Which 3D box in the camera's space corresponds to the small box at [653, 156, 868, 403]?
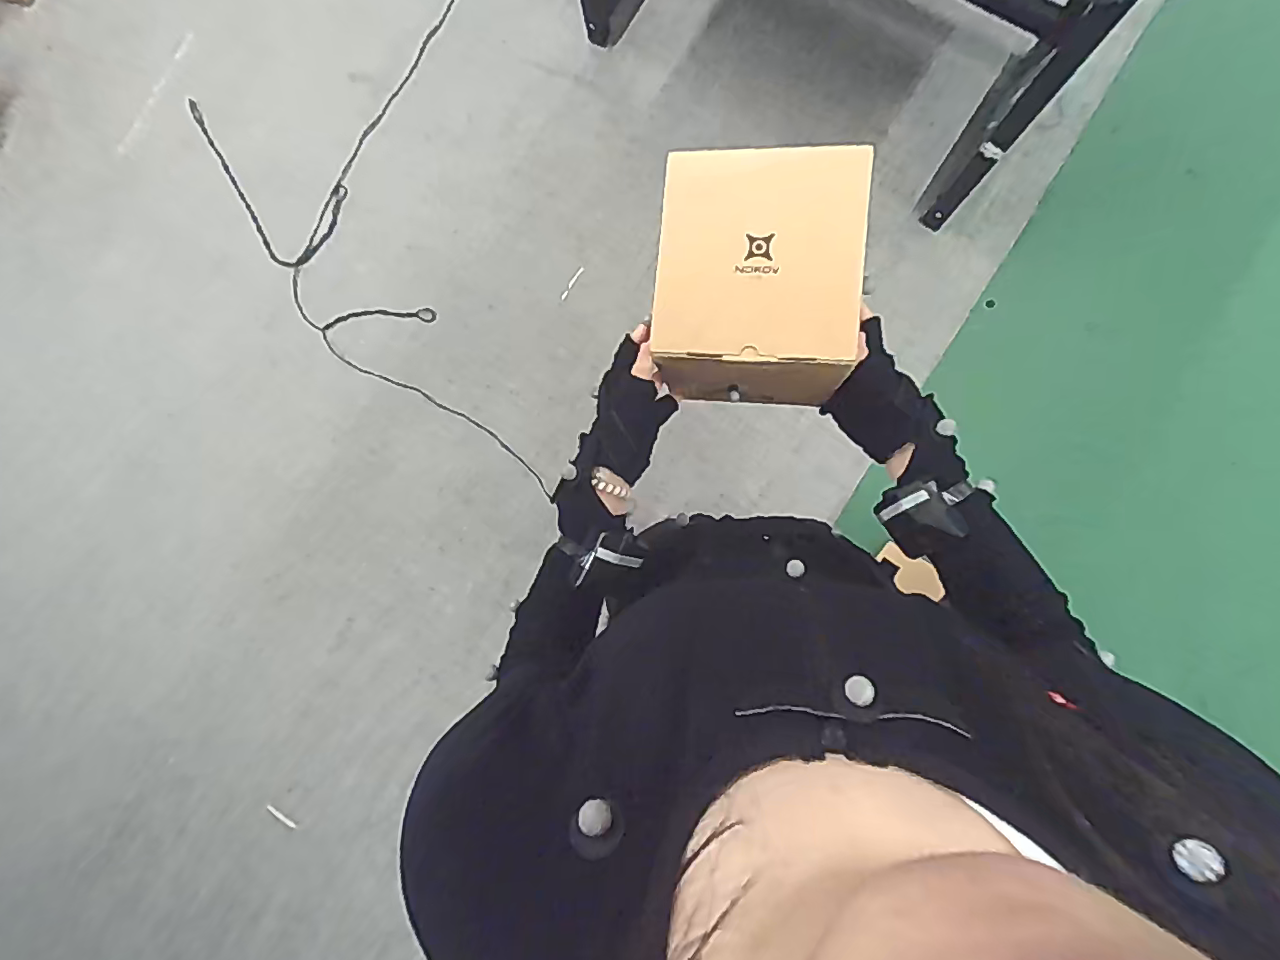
[{"bbox_3d":[0.112,-0.181,0.529,0.168,0.176,0.179,5,89,10],"label":"small box"}]
